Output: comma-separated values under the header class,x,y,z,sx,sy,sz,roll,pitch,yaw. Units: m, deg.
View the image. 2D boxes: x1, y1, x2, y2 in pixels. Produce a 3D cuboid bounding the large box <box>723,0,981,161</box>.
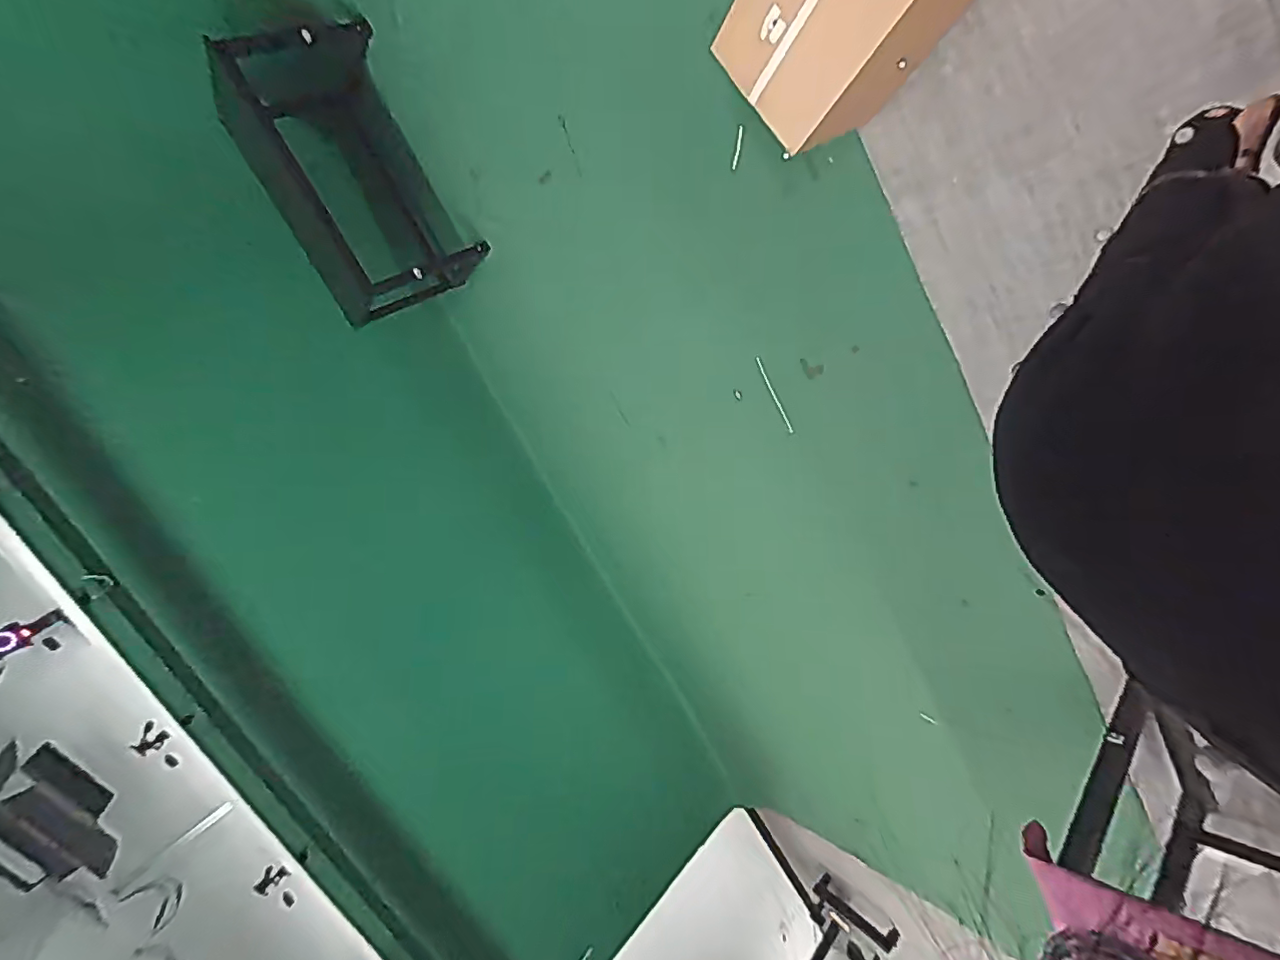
class,x,y,z,sx,sy,sz,roll,pitch,yaw
large box,0.451,-0.974,1.111,0.320,0.320,0.408,54,153,1
